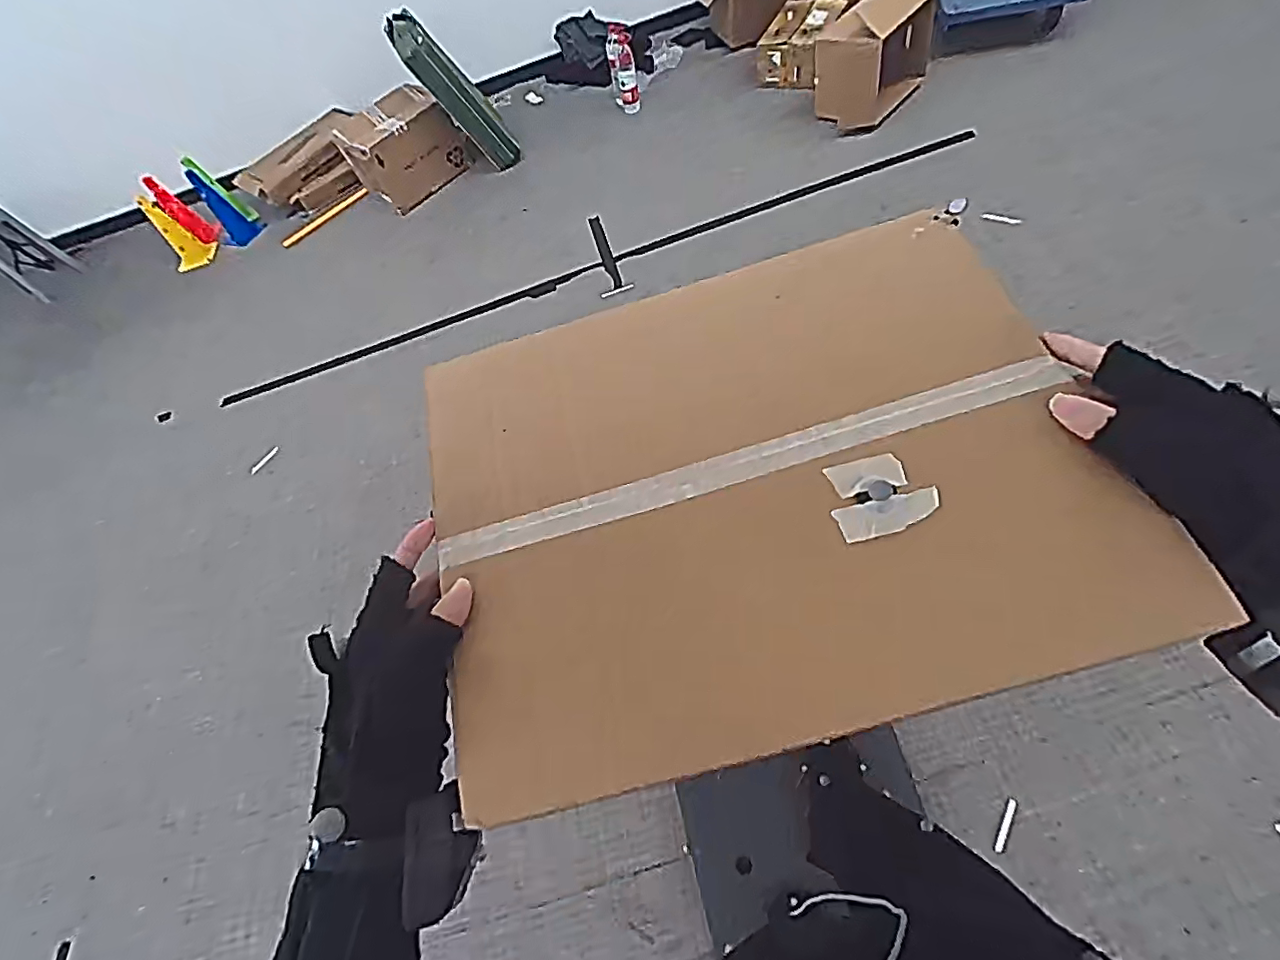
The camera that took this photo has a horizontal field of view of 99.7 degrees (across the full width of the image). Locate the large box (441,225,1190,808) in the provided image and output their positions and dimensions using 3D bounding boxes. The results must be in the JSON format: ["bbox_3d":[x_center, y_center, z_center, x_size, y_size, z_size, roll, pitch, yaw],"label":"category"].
[{"bbox_3d":[0.090,0.054,0.490,0.408,0.320,0.320,-17,65,2],"label":"large box"}]
